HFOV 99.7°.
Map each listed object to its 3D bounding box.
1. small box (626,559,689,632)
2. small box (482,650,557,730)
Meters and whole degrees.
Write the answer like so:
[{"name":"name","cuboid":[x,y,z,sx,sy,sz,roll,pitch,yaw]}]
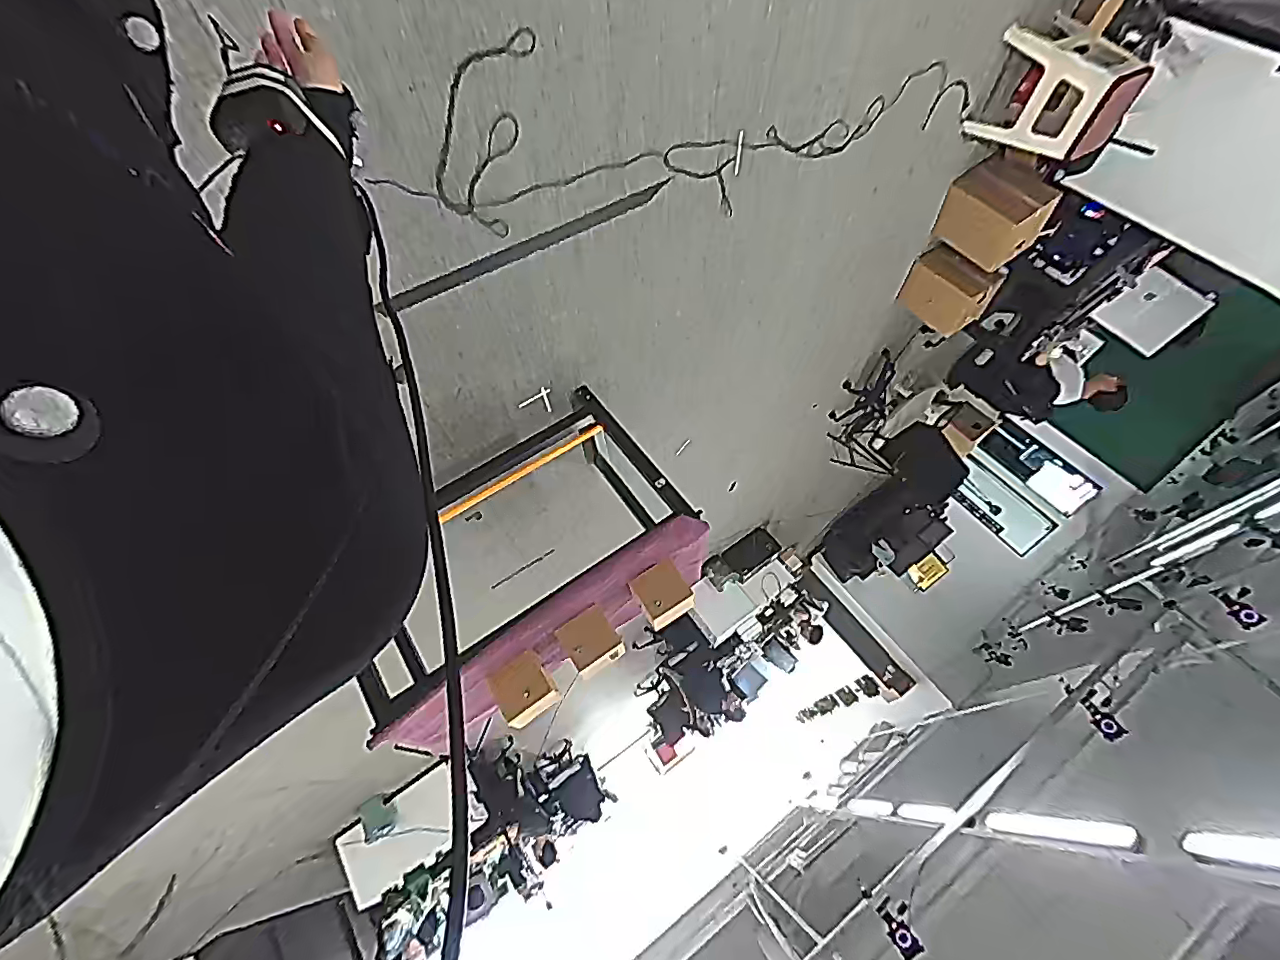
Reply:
[{"name":"small box","cuboid":[0.059,0.420,1.970,0.179,0.176,0.168,-31,154,-12]},{"name":"small box","cuboid":[-0.409,0.705,1.813,0.179,0.176,0.168,-34,154,-14]}]
